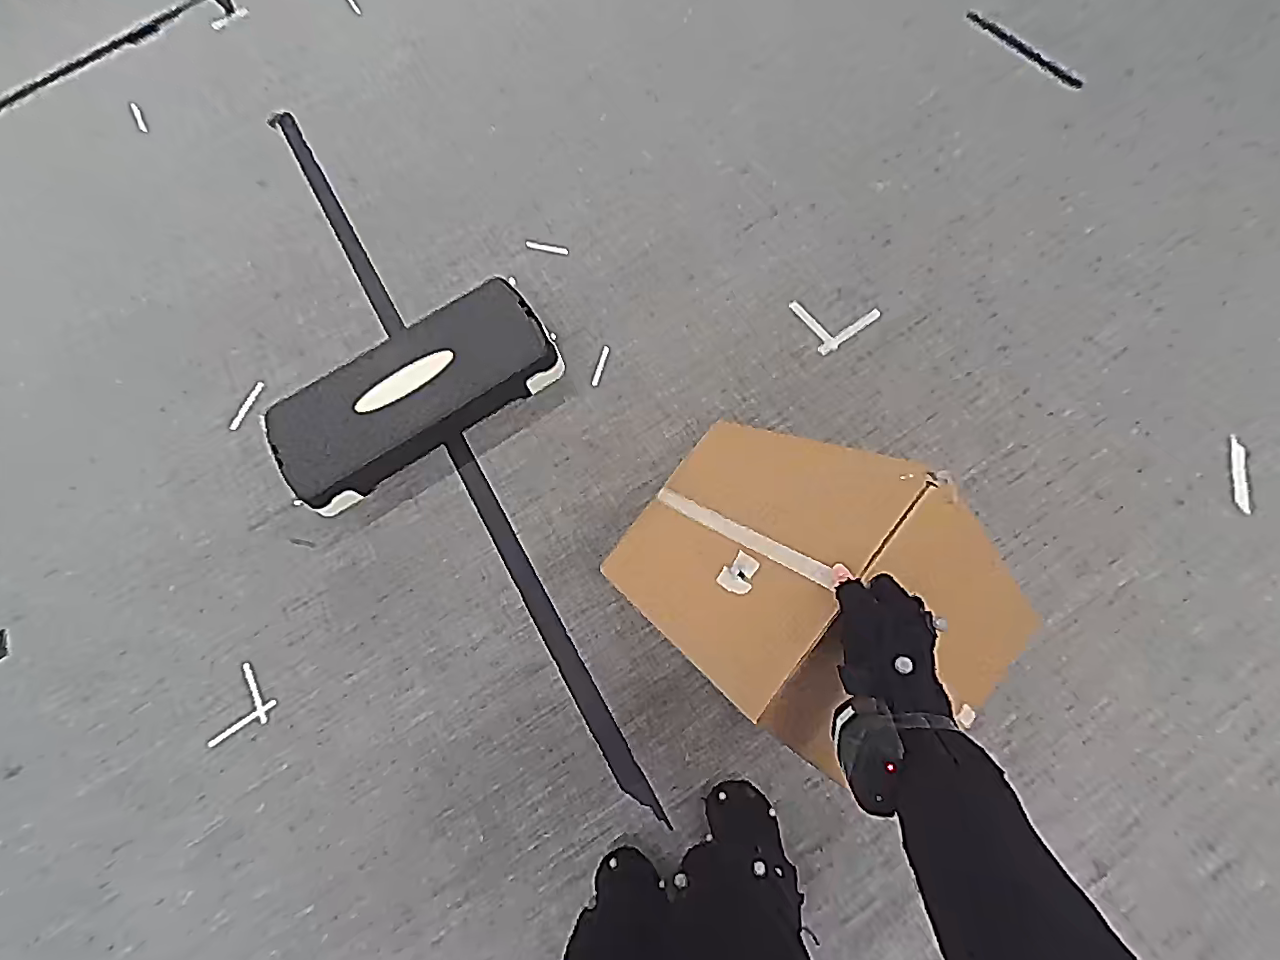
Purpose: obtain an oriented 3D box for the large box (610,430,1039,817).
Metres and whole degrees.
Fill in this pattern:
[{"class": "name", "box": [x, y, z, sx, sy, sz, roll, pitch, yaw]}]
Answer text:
[{"class": "large box", "box": [0.227, 0.159, 0.759, 0.320, 0.408, 0.320, 41, 82, -27]}]
